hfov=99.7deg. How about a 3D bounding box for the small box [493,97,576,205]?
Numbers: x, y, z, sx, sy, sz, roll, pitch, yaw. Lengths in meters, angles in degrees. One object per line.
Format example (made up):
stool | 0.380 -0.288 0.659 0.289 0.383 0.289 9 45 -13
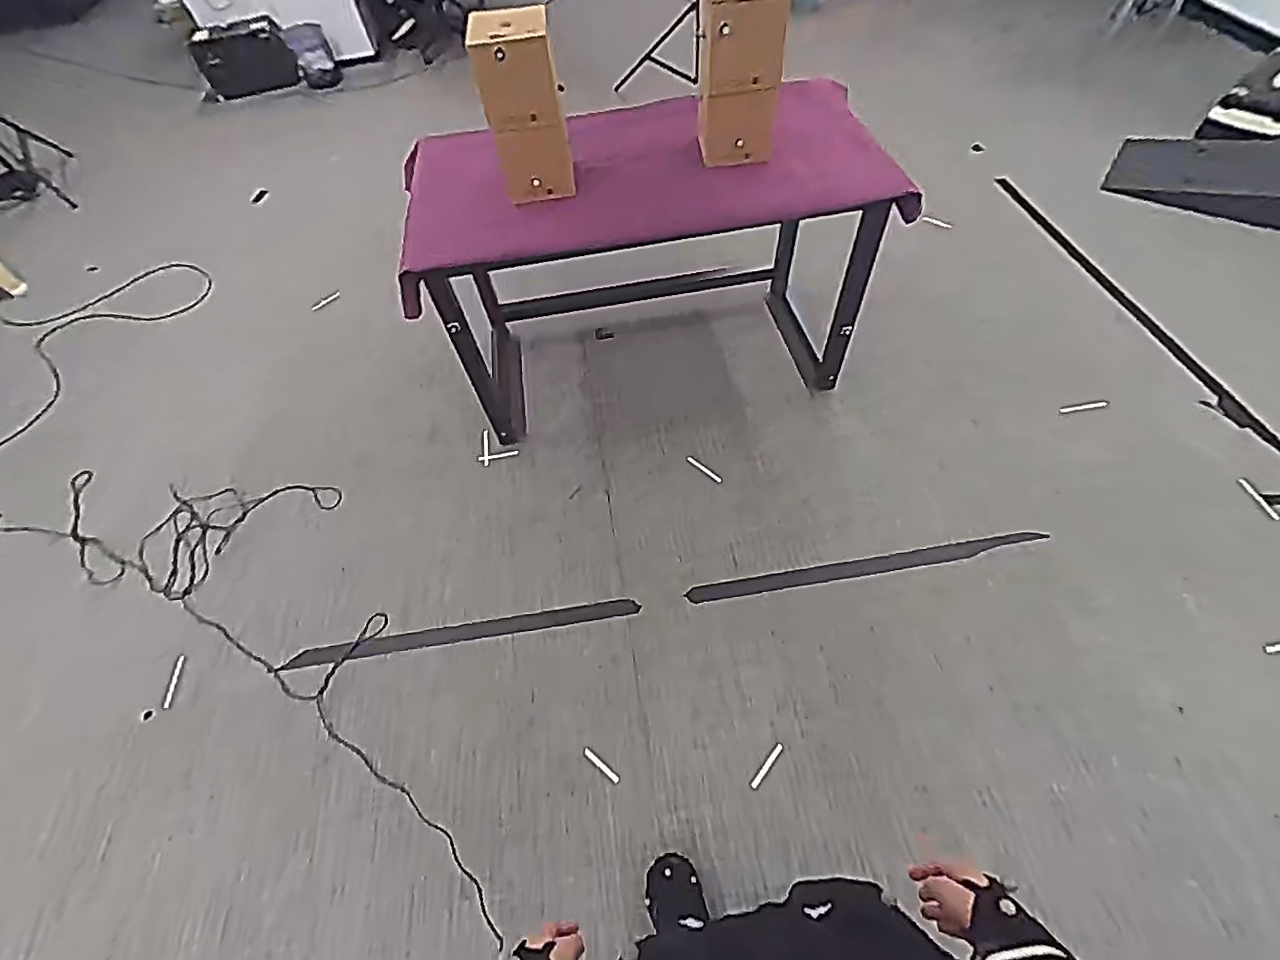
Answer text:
small box | -0.256 -0.809 1.331 0.168 0.176 0.179 -8 57 0

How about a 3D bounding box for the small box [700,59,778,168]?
small box | 0.240 -0.916 1.356 0.168 0.176 0.179 -6 57 3

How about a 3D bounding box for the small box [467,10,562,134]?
small box | -0.269 -0.898 1.194 0.168 0.176 0.179 -8 56 0
